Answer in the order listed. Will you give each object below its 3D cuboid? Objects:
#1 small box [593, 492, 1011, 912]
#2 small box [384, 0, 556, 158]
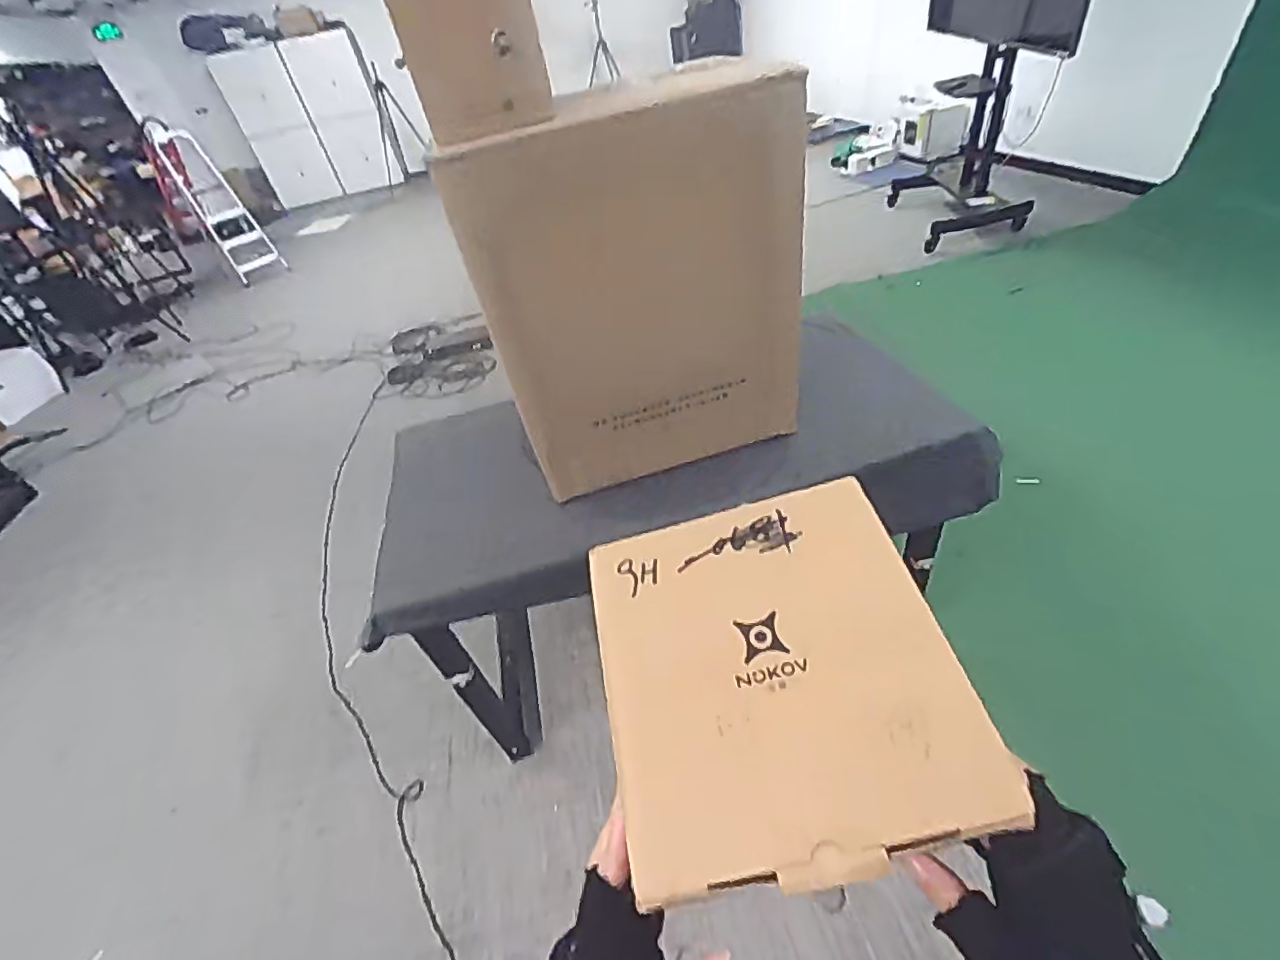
[{"bbox_3d":[0.082,0.141,0.340,0.168,0.176,0.179,-17,52,5],"label":"small box"},{"bbox_3d":[-0.224,-0.554,0.731,0.168,0.176,0.179,-19,42,-8],"label":"small box"}]
